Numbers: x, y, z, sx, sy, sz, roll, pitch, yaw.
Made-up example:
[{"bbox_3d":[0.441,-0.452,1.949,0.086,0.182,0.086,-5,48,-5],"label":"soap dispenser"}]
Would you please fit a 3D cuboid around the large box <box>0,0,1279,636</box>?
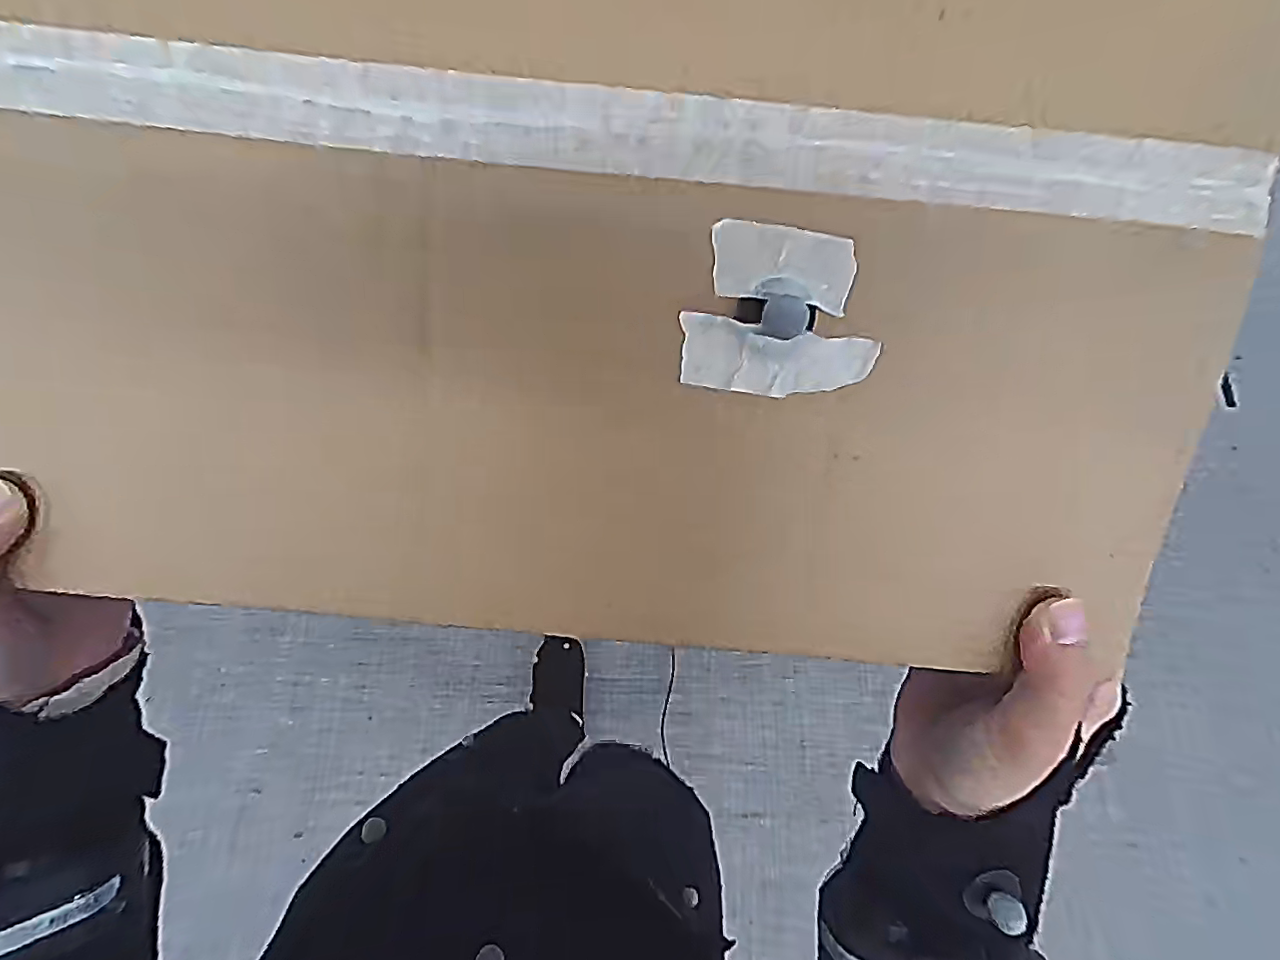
[{"bbox_3d":[-0.020,-0.133,0.311,0.408,0.320,0.320,5,103,-2],"label":"large box"}]
